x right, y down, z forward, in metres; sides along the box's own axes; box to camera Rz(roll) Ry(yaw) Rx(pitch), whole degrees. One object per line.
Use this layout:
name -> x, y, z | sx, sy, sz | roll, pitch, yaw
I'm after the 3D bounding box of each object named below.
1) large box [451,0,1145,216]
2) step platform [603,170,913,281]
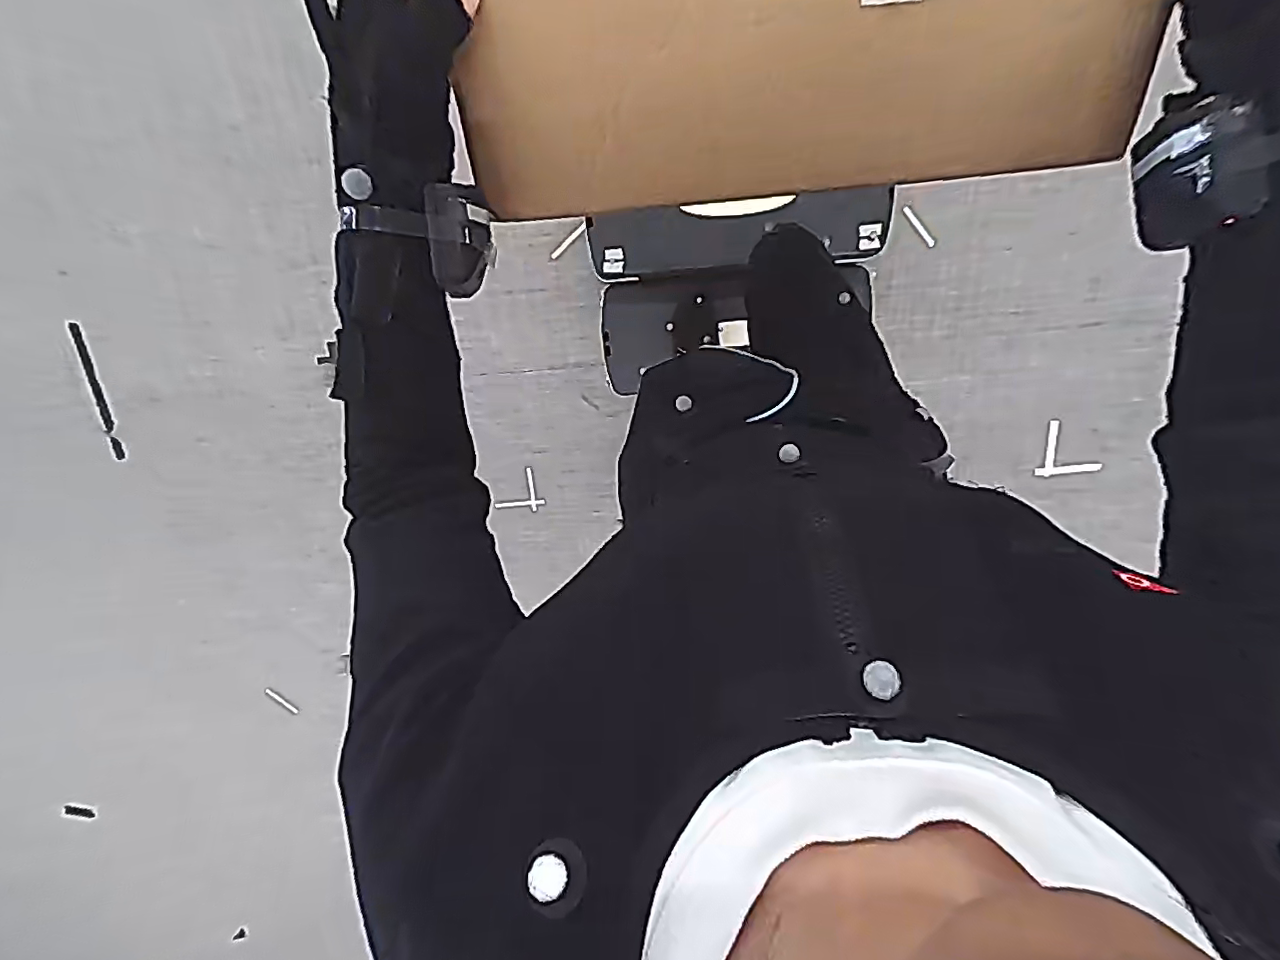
large box -> 0.088, -0.407, 0.412 | 0.408, 0.320, 0.320 | -3, 121, 7
step platform -> 0.254, -0.640, 1.250 | 0.684, 0.204, 0.286 | -4, 109, 4
